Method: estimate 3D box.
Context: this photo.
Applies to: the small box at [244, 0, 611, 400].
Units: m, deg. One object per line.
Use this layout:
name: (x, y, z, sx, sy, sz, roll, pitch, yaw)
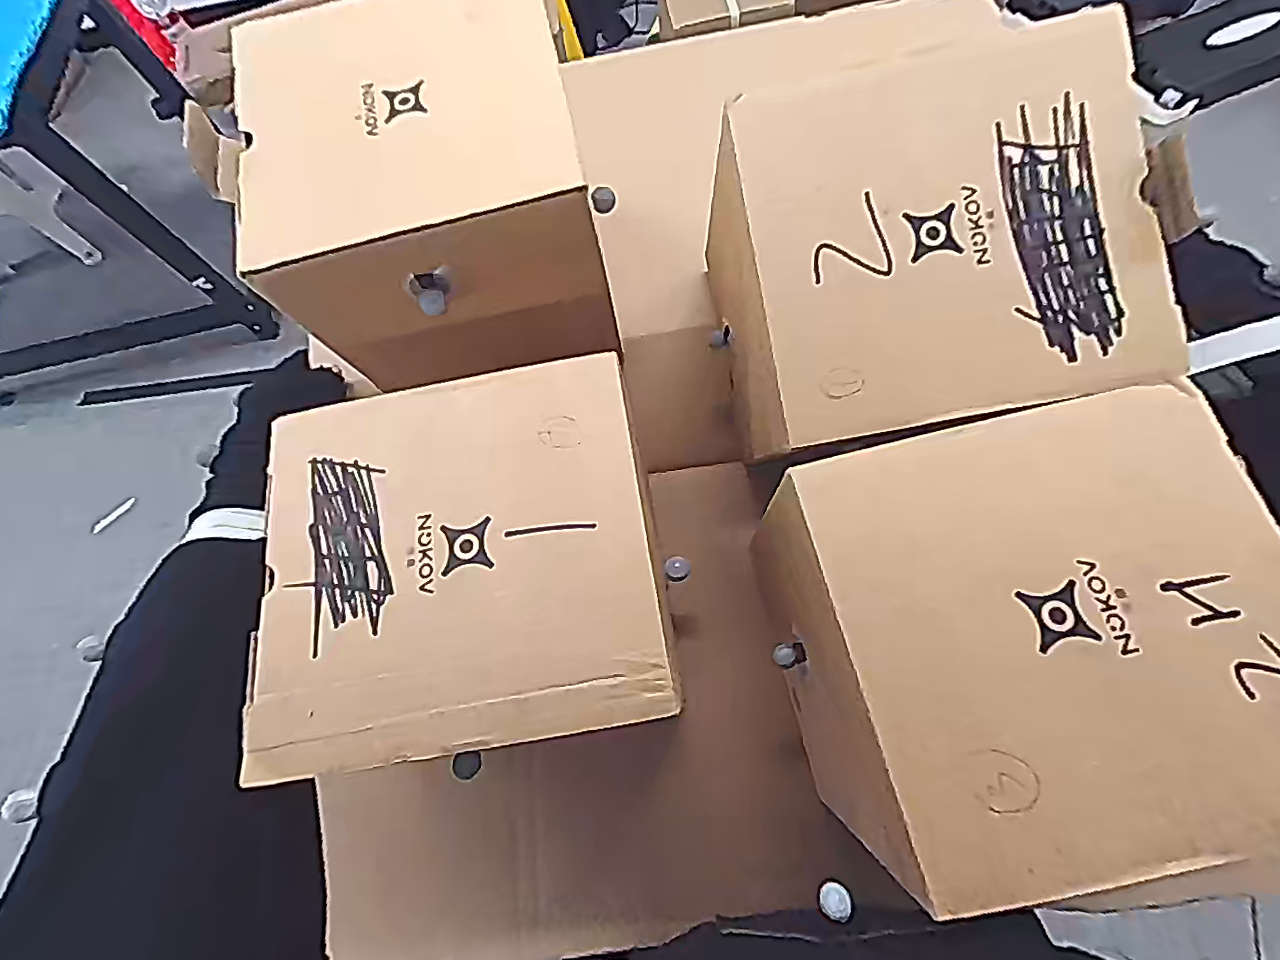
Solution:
small box: (-0.121, -0.175, 0.367, 0.179, 0.176, 0.168, -14, 73, 2)
